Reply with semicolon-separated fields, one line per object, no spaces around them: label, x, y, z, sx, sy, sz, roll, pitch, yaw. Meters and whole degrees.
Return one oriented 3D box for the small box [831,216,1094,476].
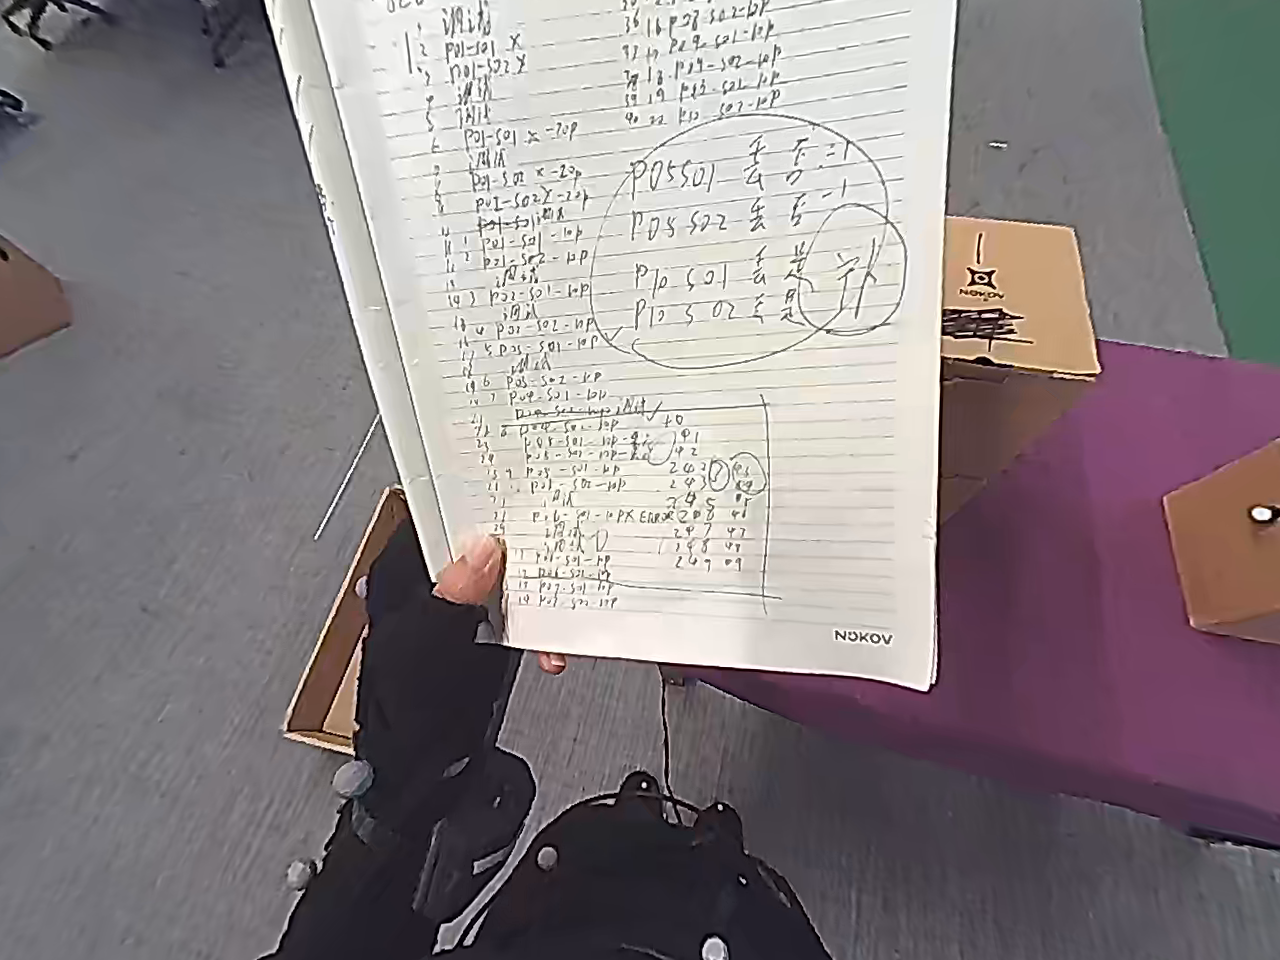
small box;0.295;-0.124;0.534;0.168;0.176;0.179;11;63;9

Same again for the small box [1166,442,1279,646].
small box;0.734;0.083;0.584;0.168;0.176;0.179;10;64;10
